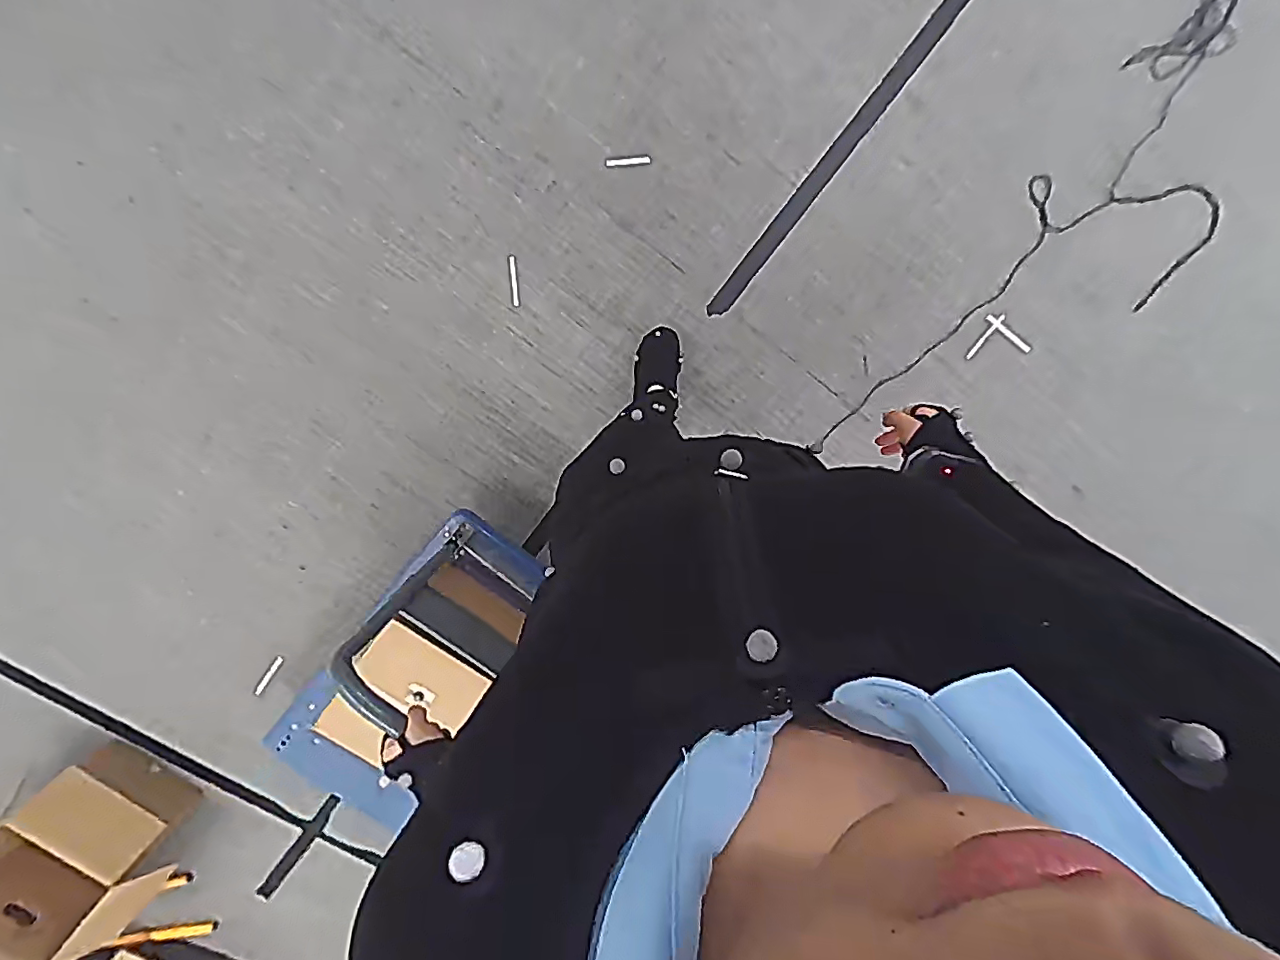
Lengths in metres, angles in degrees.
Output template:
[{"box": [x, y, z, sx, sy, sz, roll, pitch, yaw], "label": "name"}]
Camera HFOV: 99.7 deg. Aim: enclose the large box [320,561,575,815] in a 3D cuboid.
[{"box": [-0.412, 0.461, 1.257, 0.408, 0.320, 0.320, 37, 99, -8], "label": "large box"}]
